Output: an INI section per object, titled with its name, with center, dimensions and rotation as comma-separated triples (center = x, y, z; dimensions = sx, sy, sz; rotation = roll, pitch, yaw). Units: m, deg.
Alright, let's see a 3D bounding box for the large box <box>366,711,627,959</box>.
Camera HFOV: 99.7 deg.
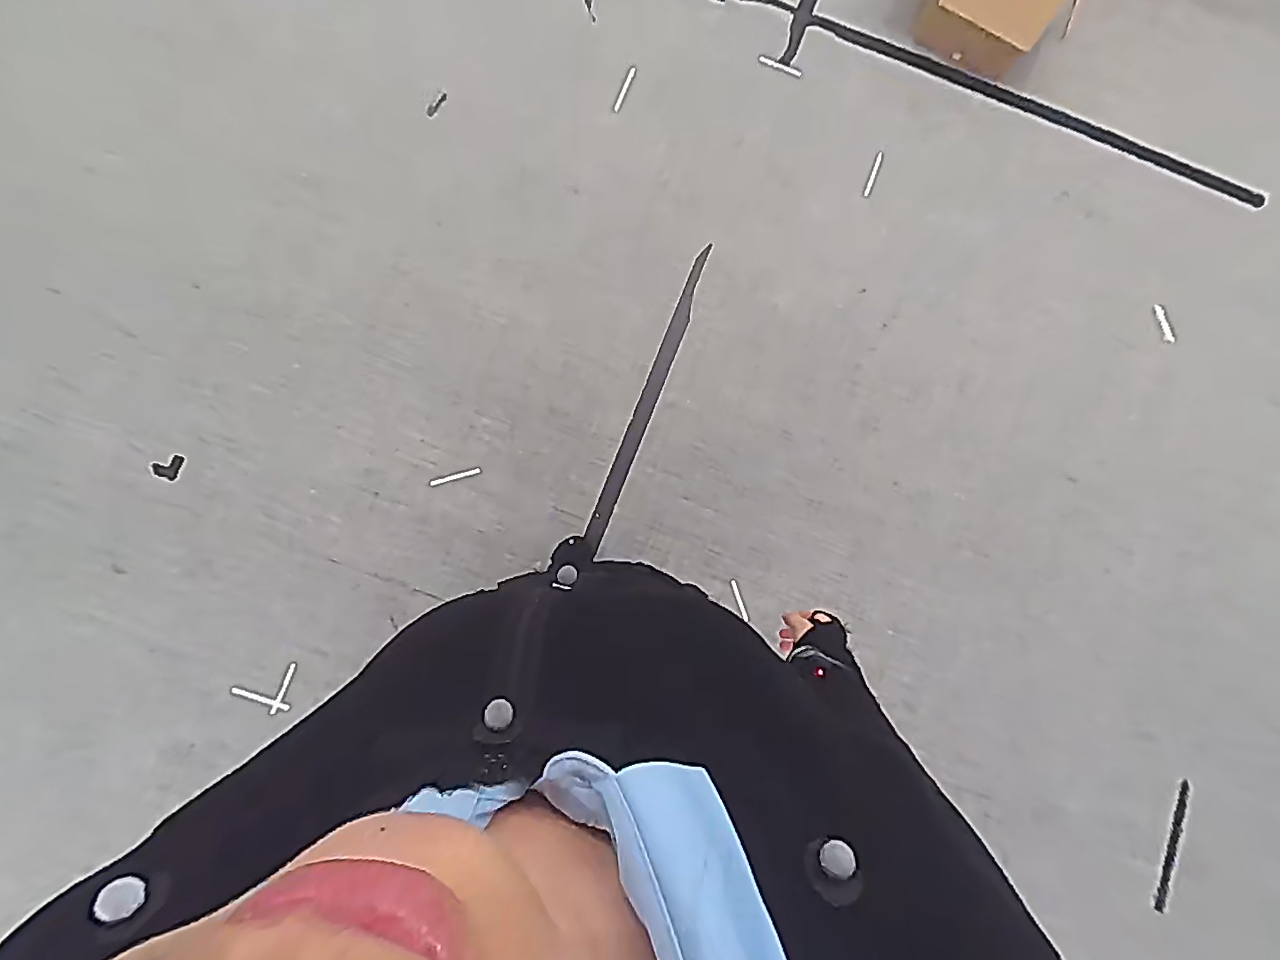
[large box]
center = -0.257, 0.723, 1.115
dimensions = 0.408, 0.320, 0.320
rotation = 16, 83, -1
